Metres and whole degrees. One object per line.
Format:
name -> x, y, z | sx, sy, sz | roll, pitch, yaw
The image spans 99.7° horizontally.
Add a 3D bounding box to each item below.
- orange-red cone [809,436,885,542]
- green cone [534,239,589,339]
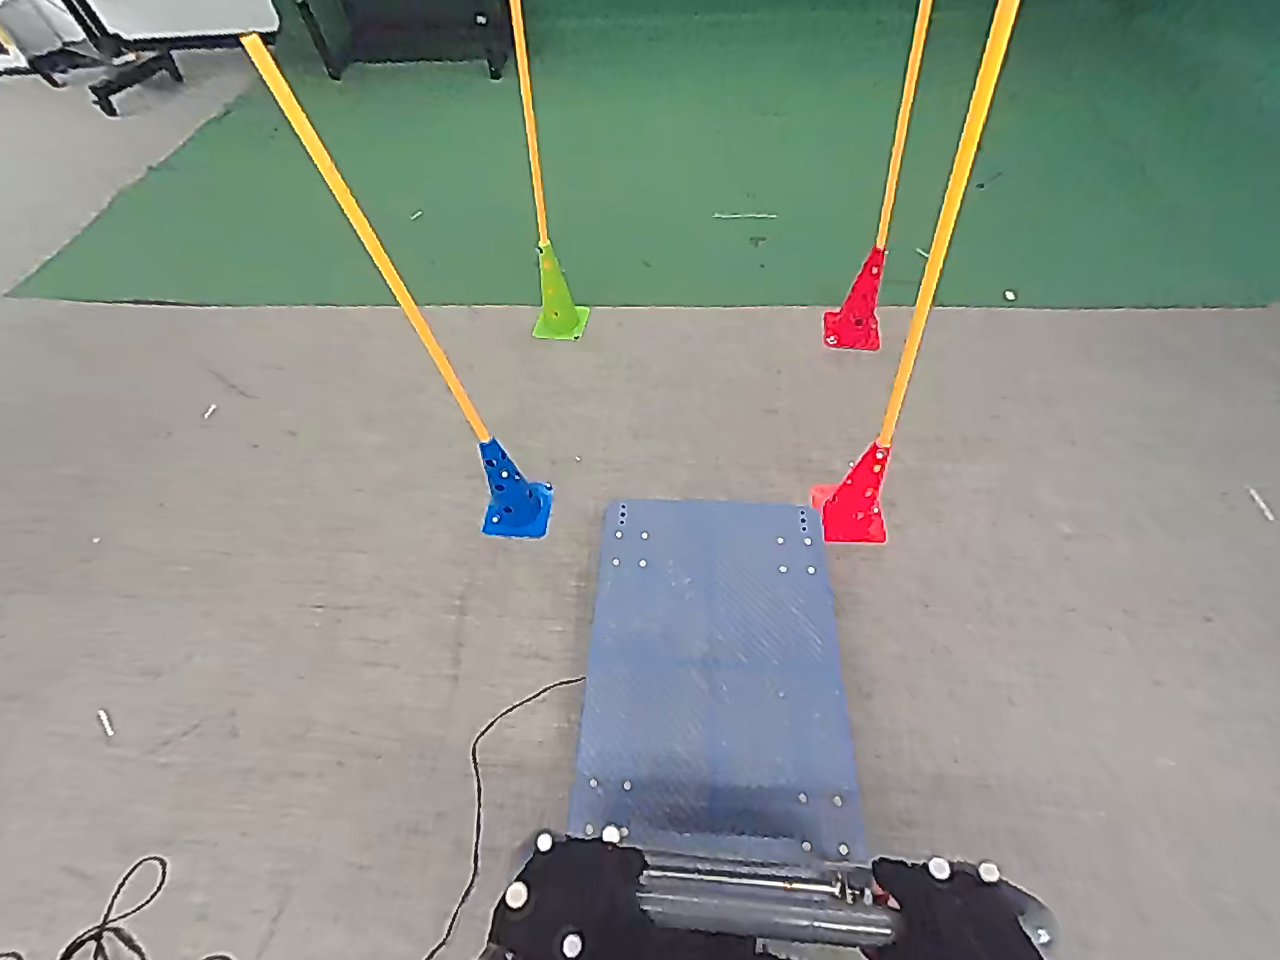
orange-red cone -> 0.609, 0.003, 1.501 | 0.199, 0.360, 0.198 | 0, 56, 6
green cone -> -0.330, -0.741, 2.055 | 0.202, 0.368, 0.200 | 5, 56, 8
